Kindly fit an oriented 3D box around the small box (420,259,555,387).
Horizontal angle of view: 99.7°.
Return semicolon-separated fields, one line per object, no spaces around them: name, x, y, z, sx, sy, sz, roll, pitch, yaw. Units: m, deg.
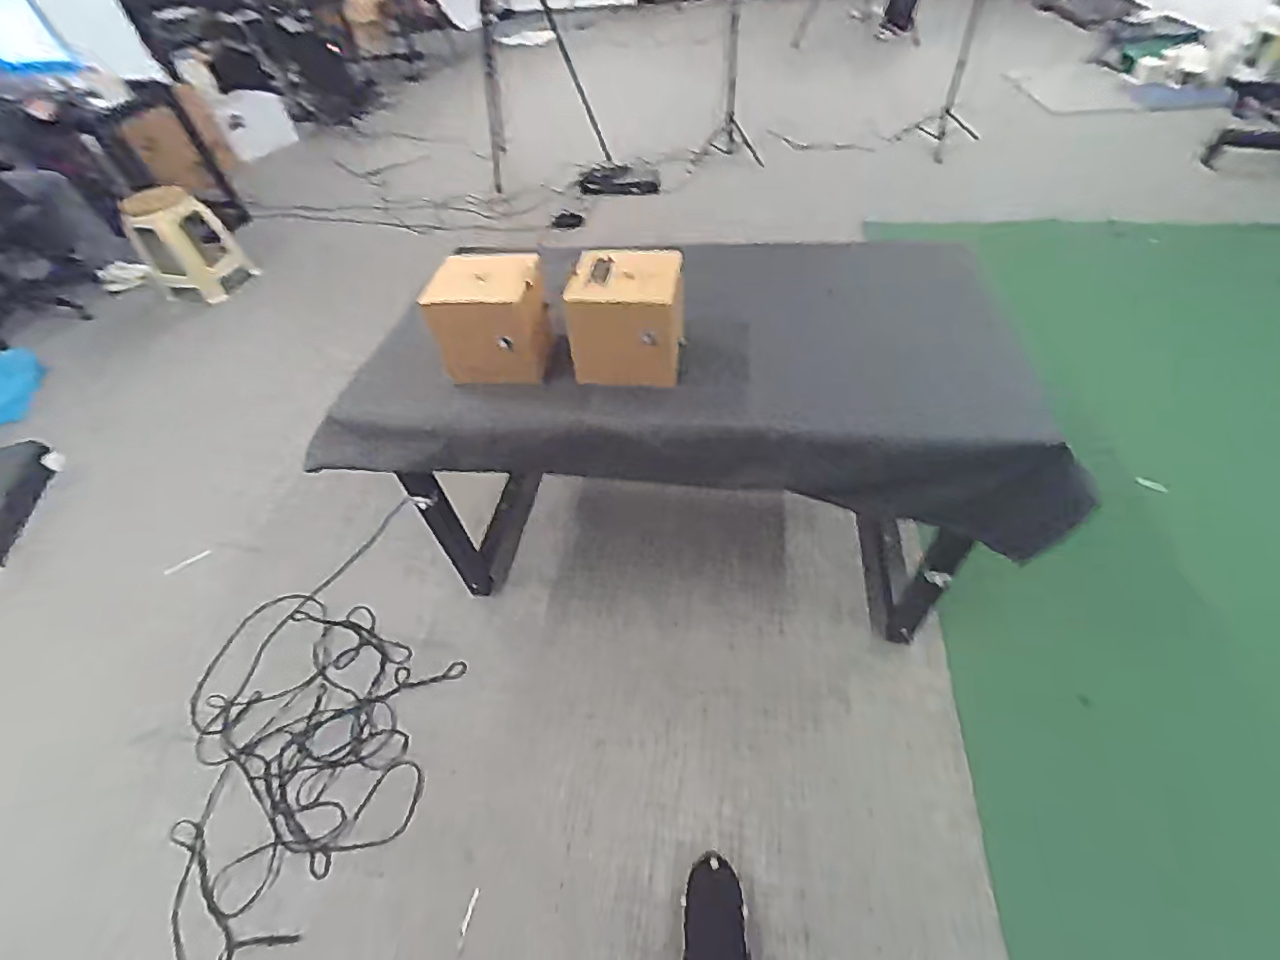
small box;-0.263;-0.284;0.986;0.179;0.176;0.168;0;47;7
